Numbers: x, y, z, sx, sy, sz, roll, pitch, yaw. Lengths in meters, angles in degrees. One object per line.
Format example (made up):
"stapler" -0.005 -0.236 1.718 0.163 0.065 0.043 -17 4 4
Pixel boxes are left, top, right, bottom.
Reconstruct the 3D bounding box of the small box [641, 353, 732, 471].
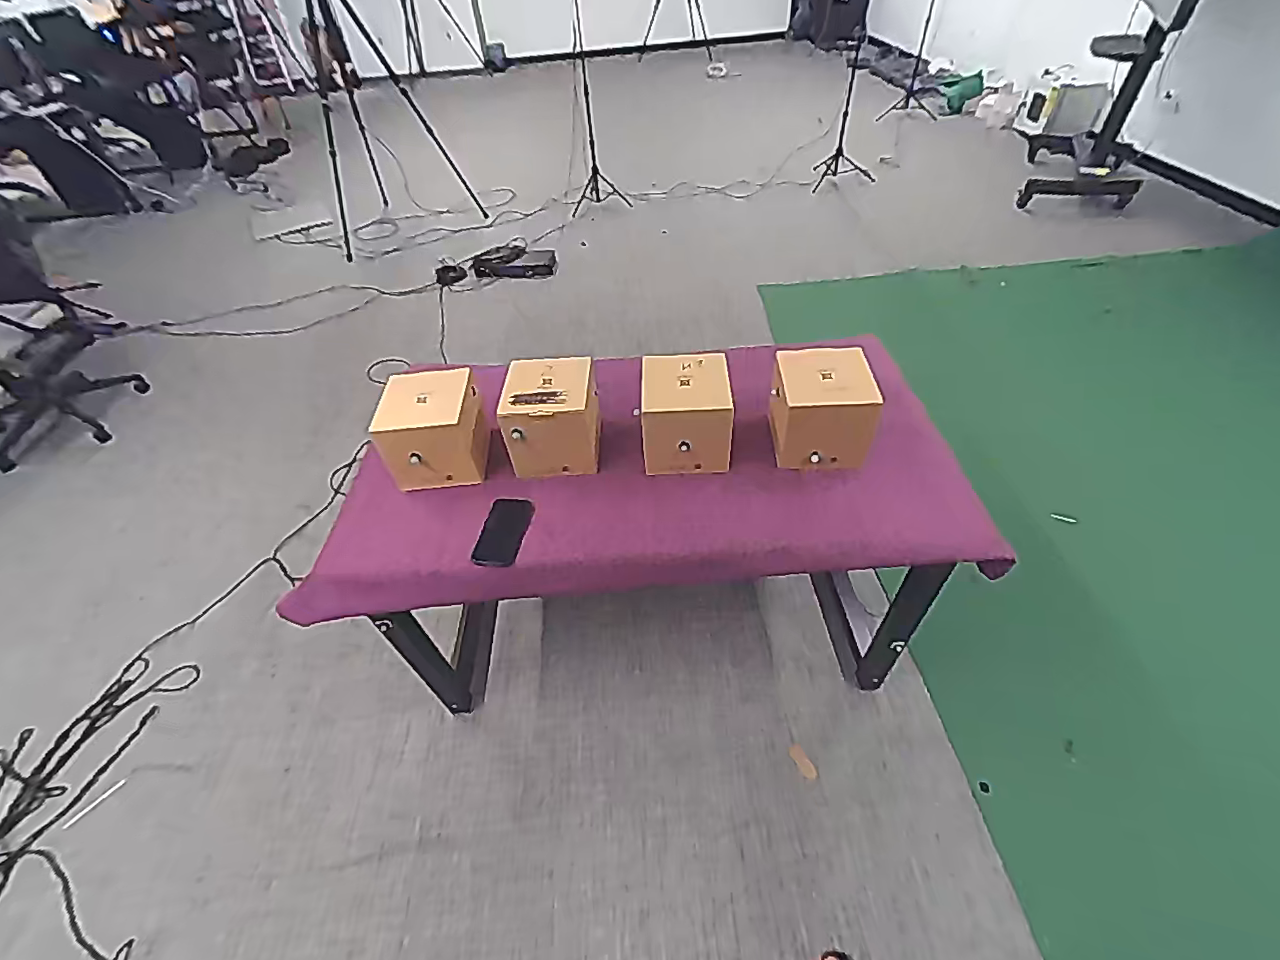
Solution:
"small box" 0.091 -0.130 1.073 0.168 0.176 0.179 -1 46 3

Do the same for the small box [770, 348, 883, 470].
"small box" 0.352 -0.138 1.059 0.168 0.176 0.179 -1 47 5

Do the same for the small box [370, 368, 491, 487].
"small box" -0.408 -0.099 1.090 0.168 0.176 0.179 -6 46 -1
